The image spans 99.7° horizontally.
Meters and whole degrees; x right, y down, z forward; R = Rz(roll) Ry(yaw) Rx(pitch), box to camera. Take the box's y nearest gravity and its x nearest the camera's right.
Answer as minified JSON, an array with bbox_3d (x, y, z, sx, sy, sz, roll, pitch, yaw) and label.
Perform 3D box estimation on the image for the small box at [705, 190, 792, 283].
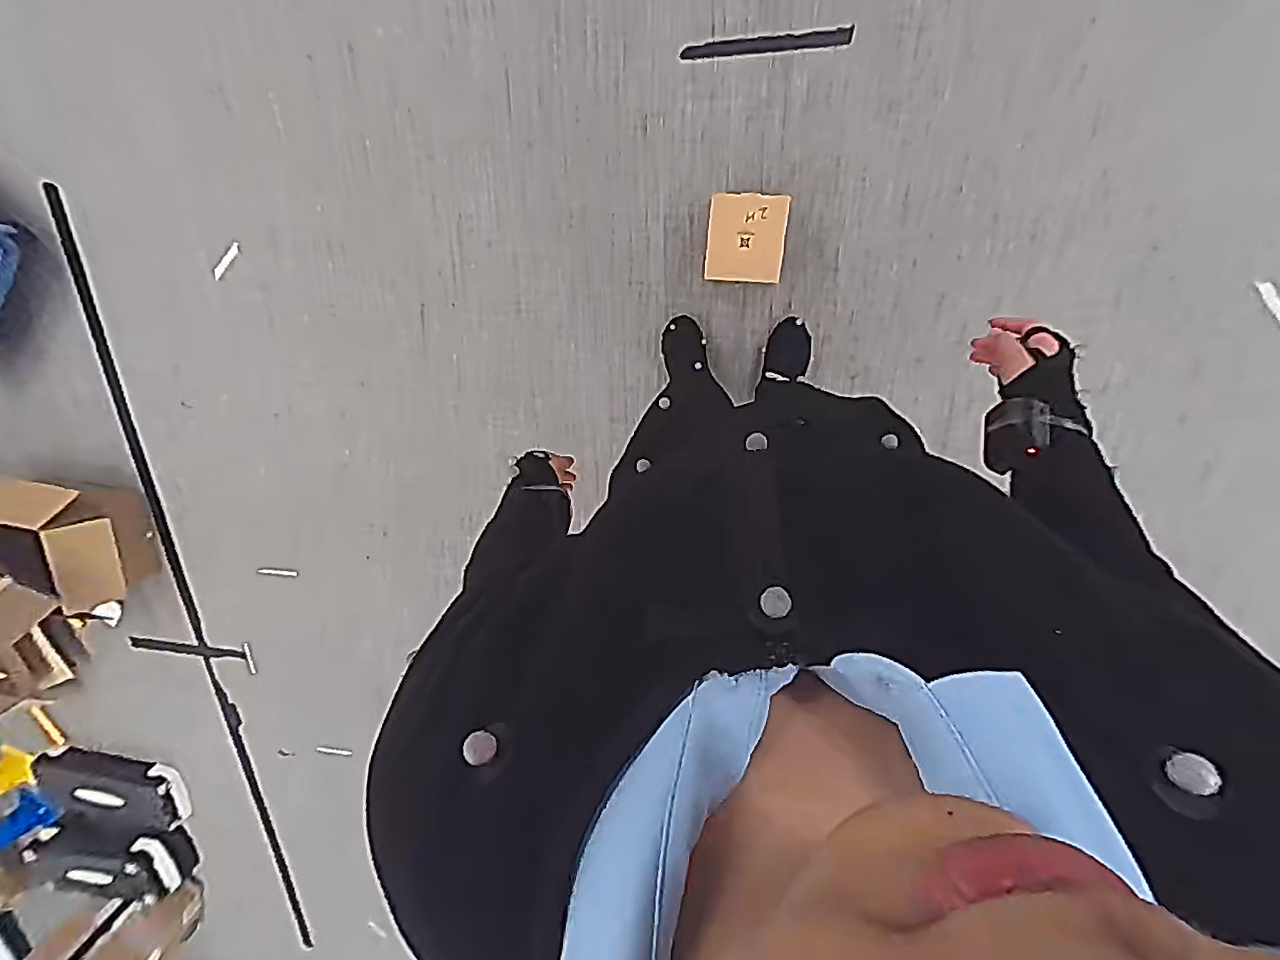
[{"bbox_3d":[0.243,-0.546,1.227,0.168,0.176,0.179,6,110,7],"label":"small box"}]
